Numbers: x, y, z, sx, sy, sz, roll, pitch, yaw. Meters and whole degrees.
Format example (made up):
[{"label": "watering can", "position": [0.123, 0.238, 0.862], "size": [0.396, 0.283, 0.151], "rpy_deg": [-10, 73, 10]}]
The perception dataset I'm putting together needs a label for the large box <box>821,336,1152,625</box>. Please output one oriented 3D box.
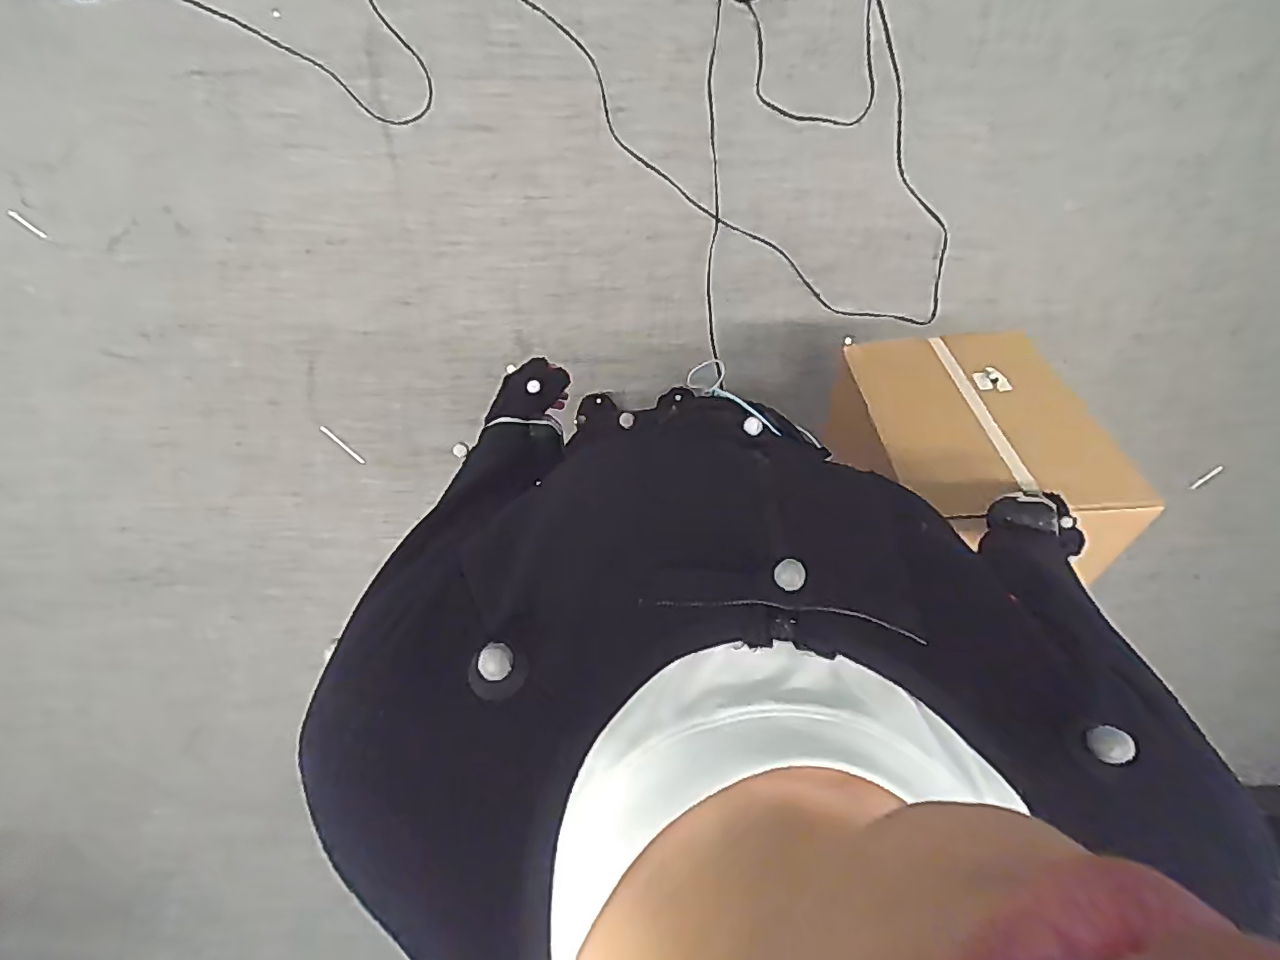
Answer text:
[{"label": "large box", "position": [0.536, -0.002, 0.957], "size": [0.320, 0.408, 0.320], "rpy_deg": [-3, 137, 4]}]
